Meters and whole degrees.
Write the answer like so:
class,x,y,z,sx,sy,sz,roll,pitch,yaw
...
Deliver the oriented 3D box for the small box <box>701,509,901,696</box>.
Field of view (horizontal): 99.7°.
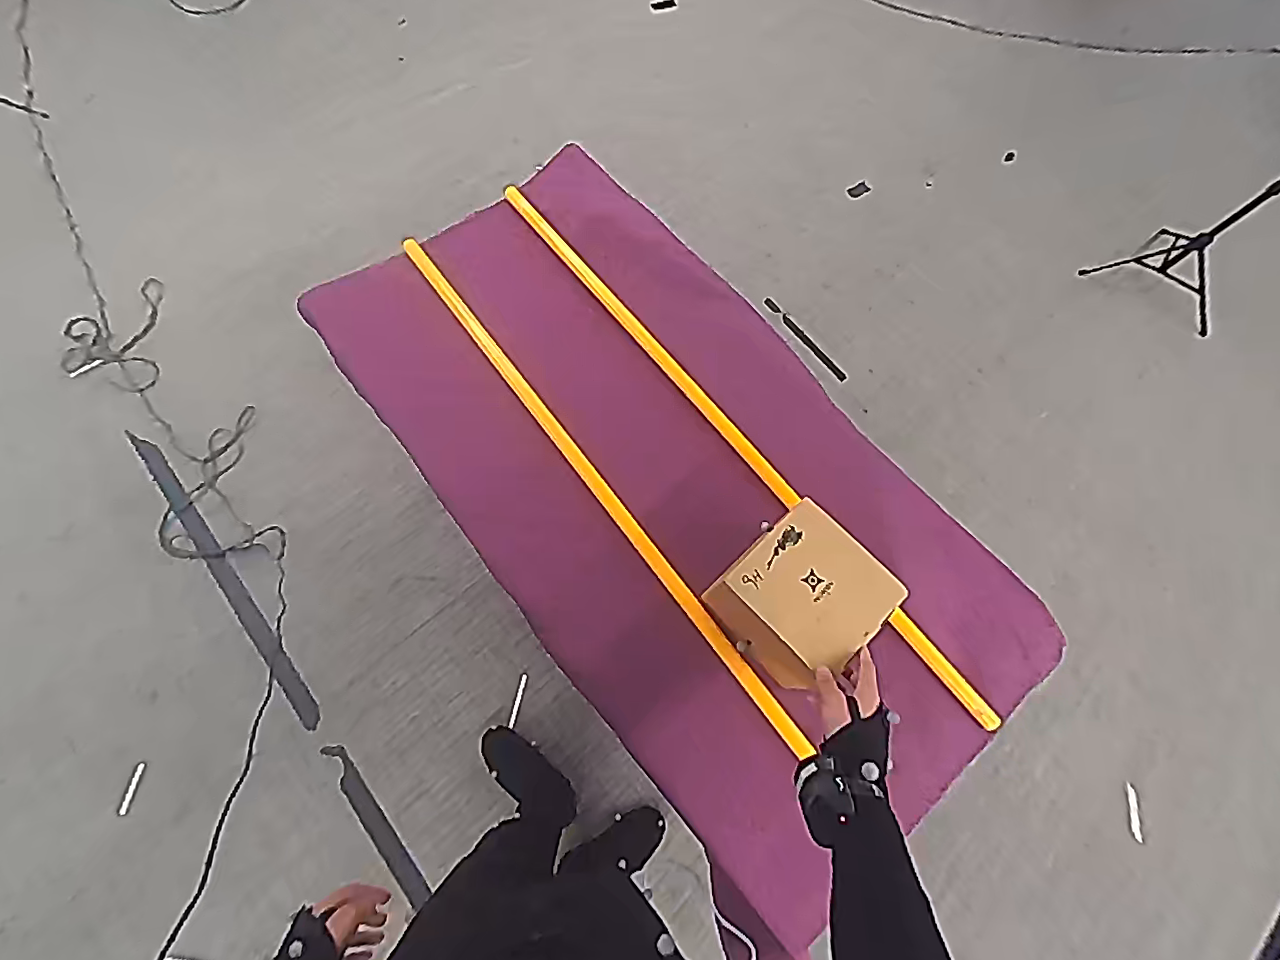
class,x,y,z,sx,sy,sz,roll,pitch,yaw
small box,0.210,0.172,0.754,0.168,0.176,0.179,-40,78,-16
